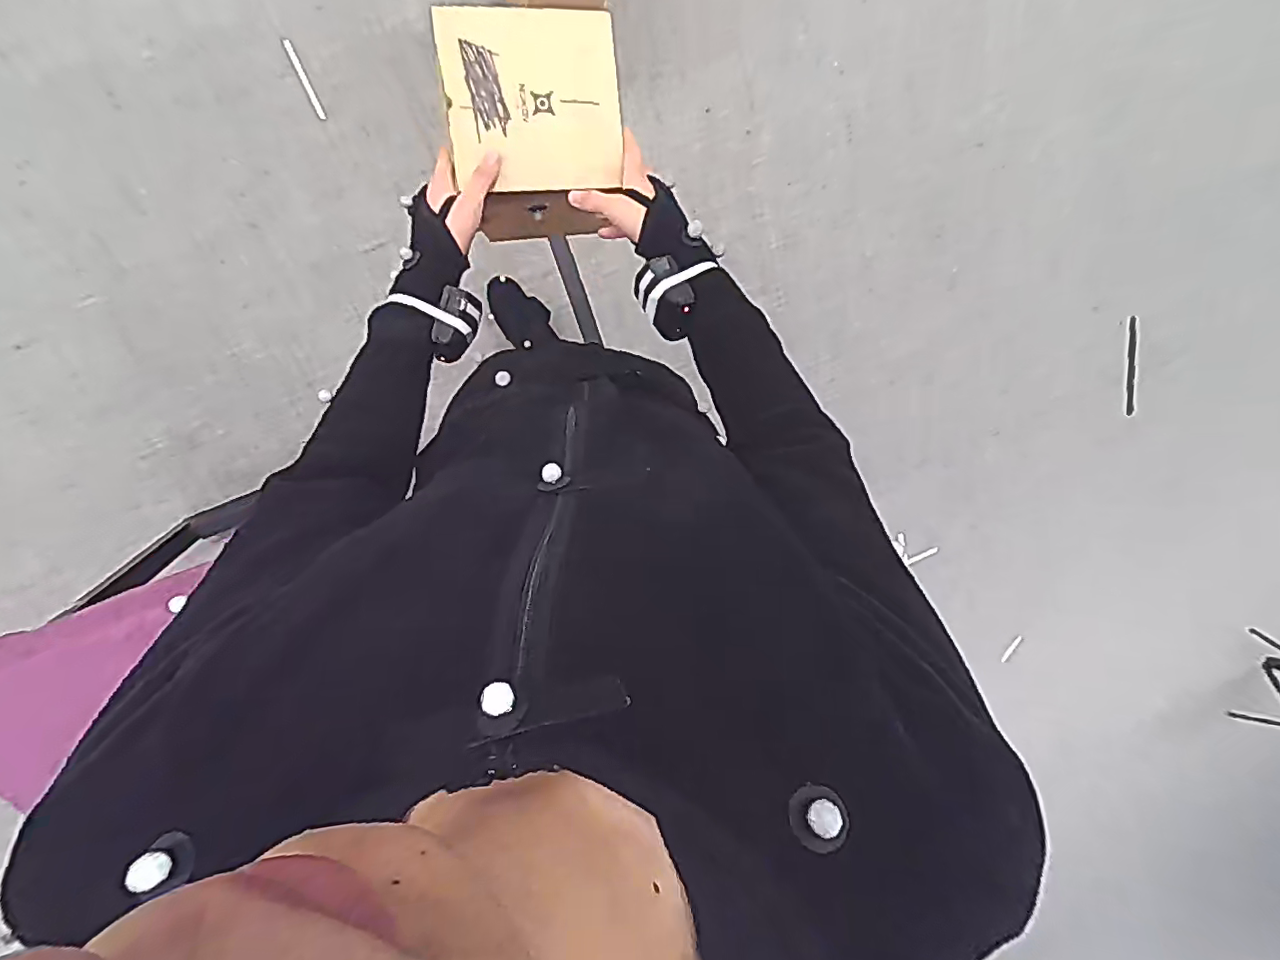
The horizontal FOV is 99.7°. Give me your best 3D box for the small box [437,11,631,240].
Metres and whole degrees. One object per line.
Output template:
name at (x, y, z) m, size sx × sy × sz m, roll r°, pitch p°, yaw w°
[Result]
small box at (-0.110, -0.386, 0.620) m, size 0.179 × 0.176 × 0.168 m, roll -8°, pitch 101°, yaw -5°
